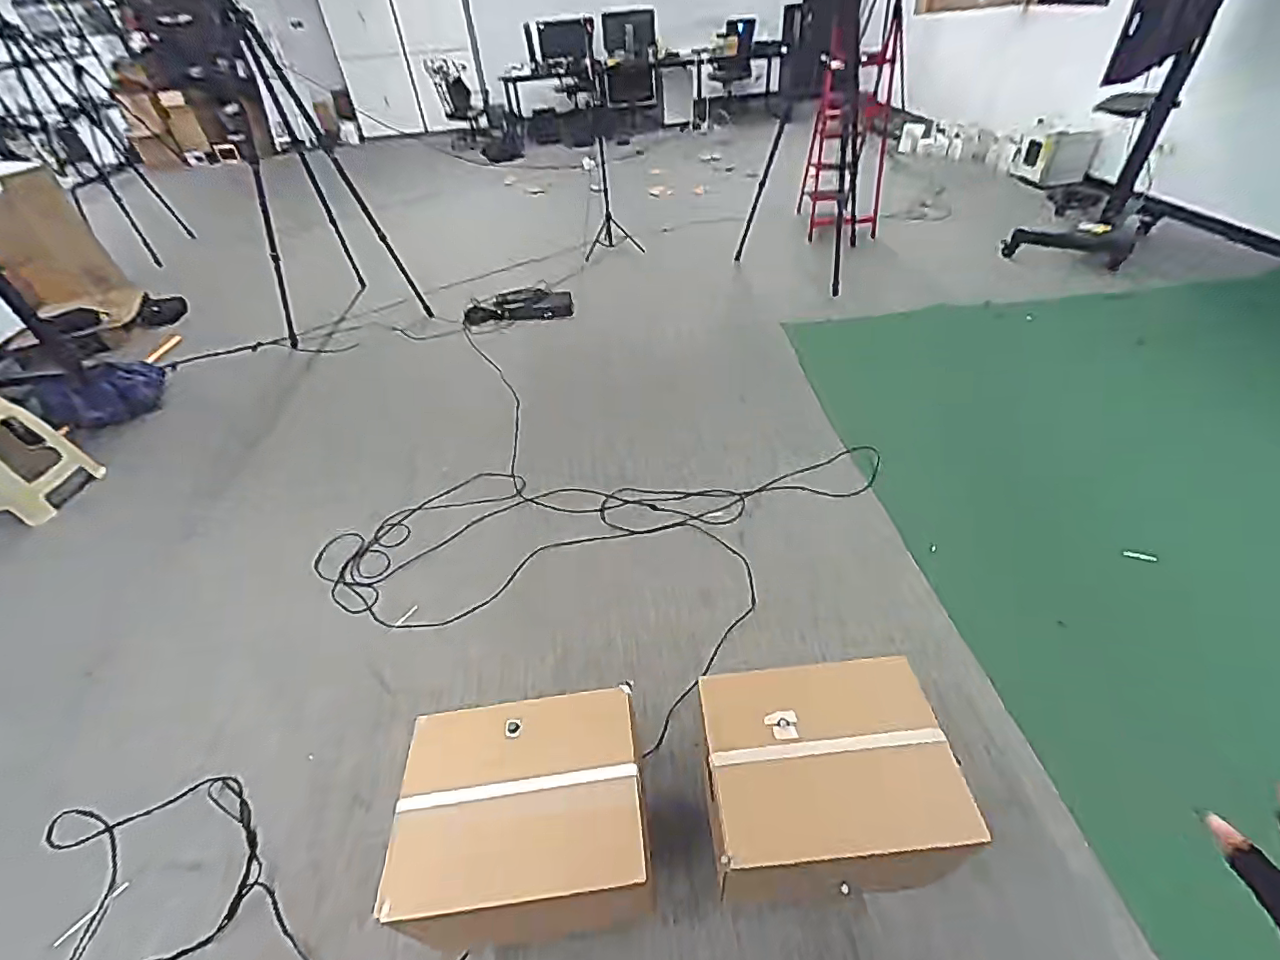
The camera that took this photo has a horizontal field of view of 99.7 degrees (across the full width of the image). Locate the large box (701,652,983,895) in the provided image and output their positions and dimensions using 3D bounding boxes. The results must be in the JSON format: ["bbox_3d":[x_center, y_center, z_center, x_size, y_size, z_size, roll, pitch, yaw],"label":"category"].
[{"bbox_3d":[0.342,0.571,1.048,0.408,0.320,0.320,-6,43,0],"label":"large box"}]
